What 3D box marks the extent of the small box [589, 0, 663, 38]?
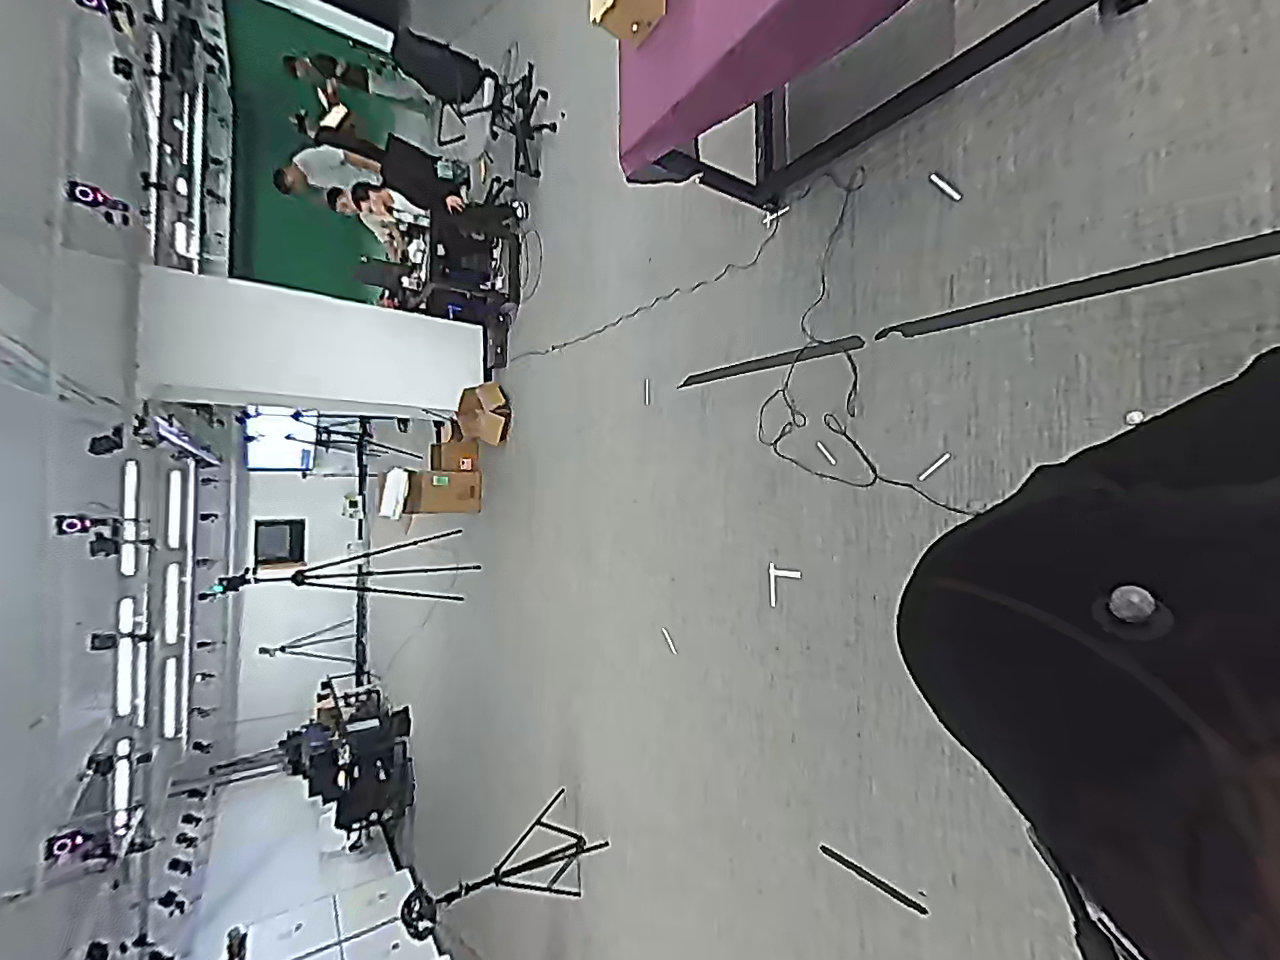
[{"bbox_3d":[-0.040,-1.502,1.632,0.168,0.176,0.179,2,91,56],"label":"small box"}]
